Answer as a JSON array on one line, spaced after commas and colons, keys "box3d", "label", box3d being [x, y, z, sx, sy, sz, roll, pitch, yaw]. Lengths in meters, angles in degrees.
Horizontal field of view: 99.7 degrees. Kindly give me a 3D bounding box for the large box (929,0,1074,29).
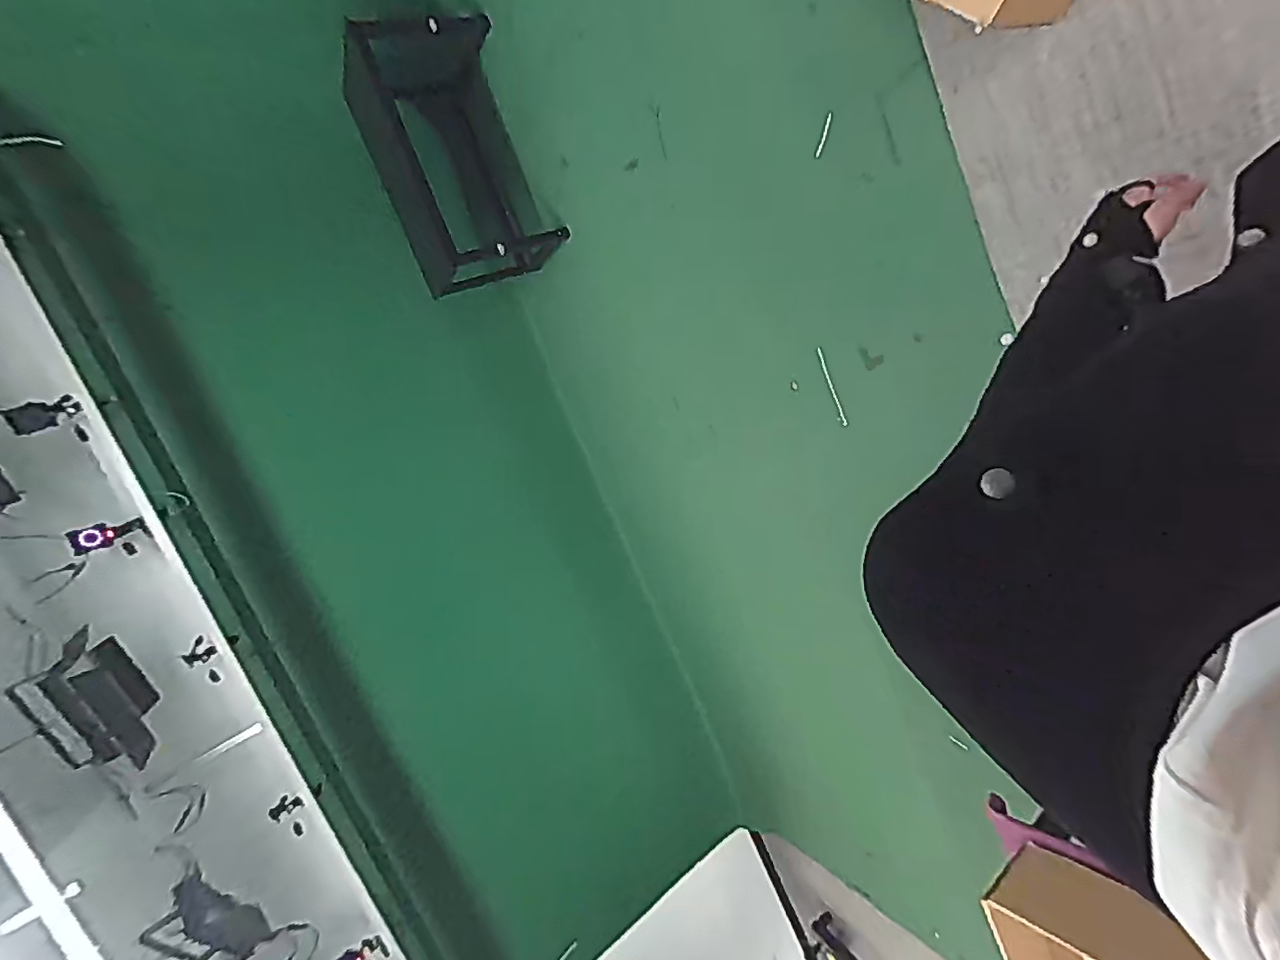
[{"box3d": [0.733, -1.150, 1.000, 0.320, 0.320, 0.408, 52, 153, 23], "label": "large box"}]
